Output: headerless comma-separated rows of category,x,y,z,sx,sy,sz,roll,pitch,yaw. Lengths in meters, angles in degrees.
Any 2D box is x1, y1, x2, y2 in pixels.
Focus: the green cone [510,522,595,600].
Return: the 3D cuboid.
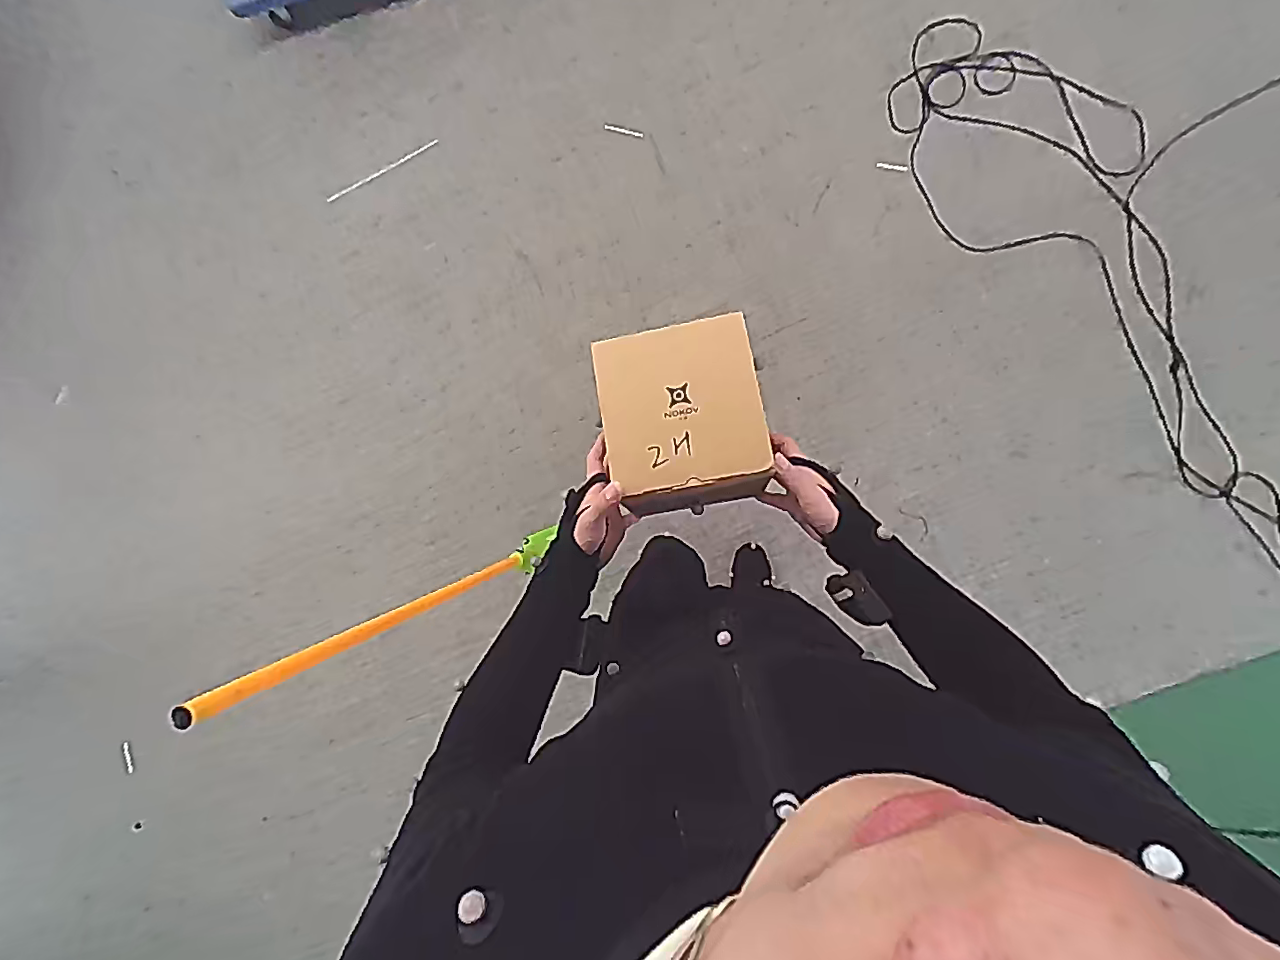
green cone,-0.282,0.233,1.508,0.202,0.368,0.200,-22,81,5
